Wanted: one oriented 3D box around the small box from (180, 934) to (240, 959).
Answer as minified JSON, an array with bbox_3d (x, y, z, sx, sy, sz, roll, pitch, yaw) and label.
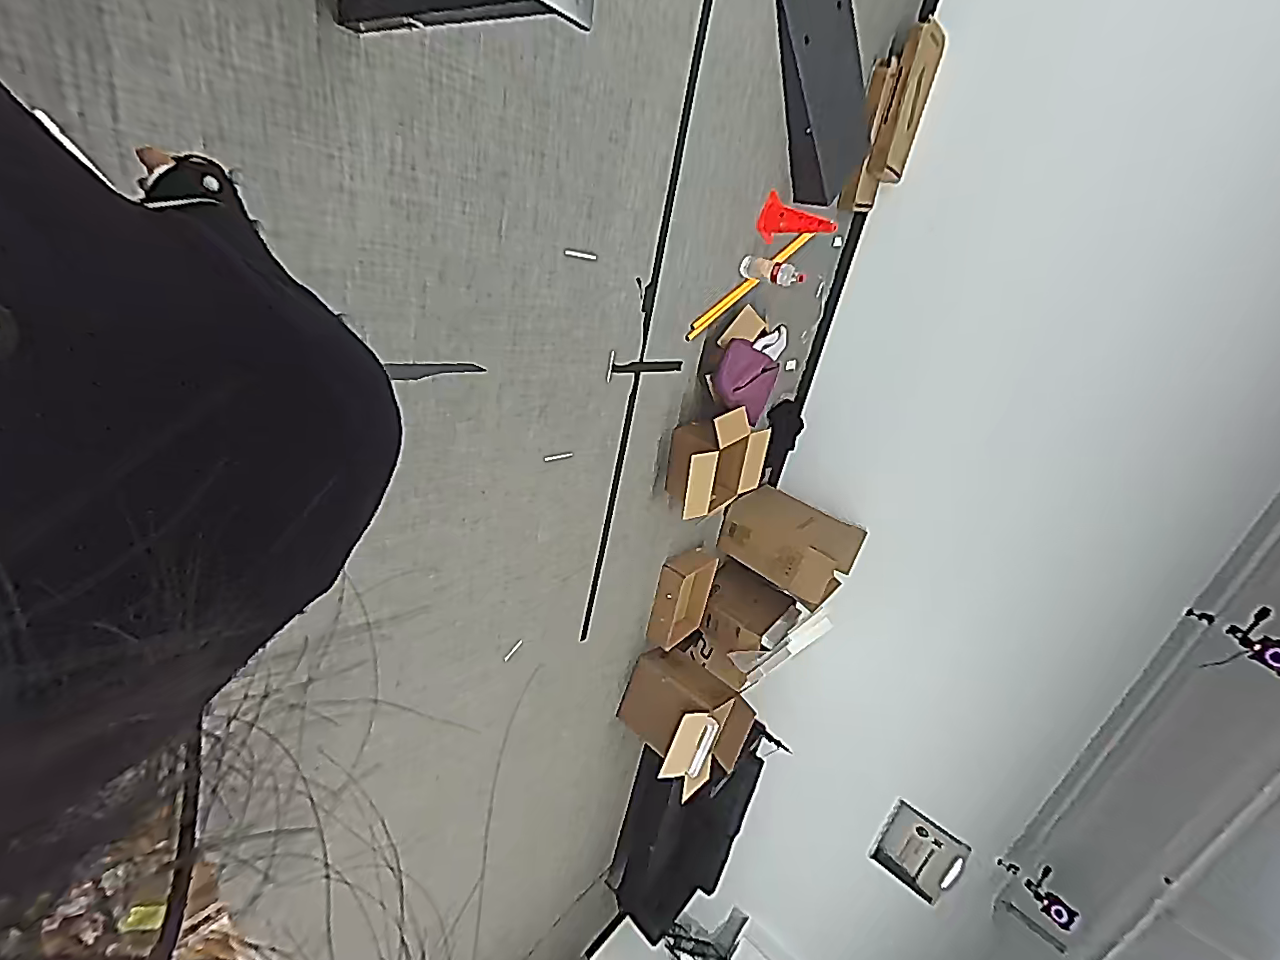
[{"bbox_3d":[-1.028,1.232,1.265,0.168,0.176,0.179,-19,124,-50],"label":"small box"}]
